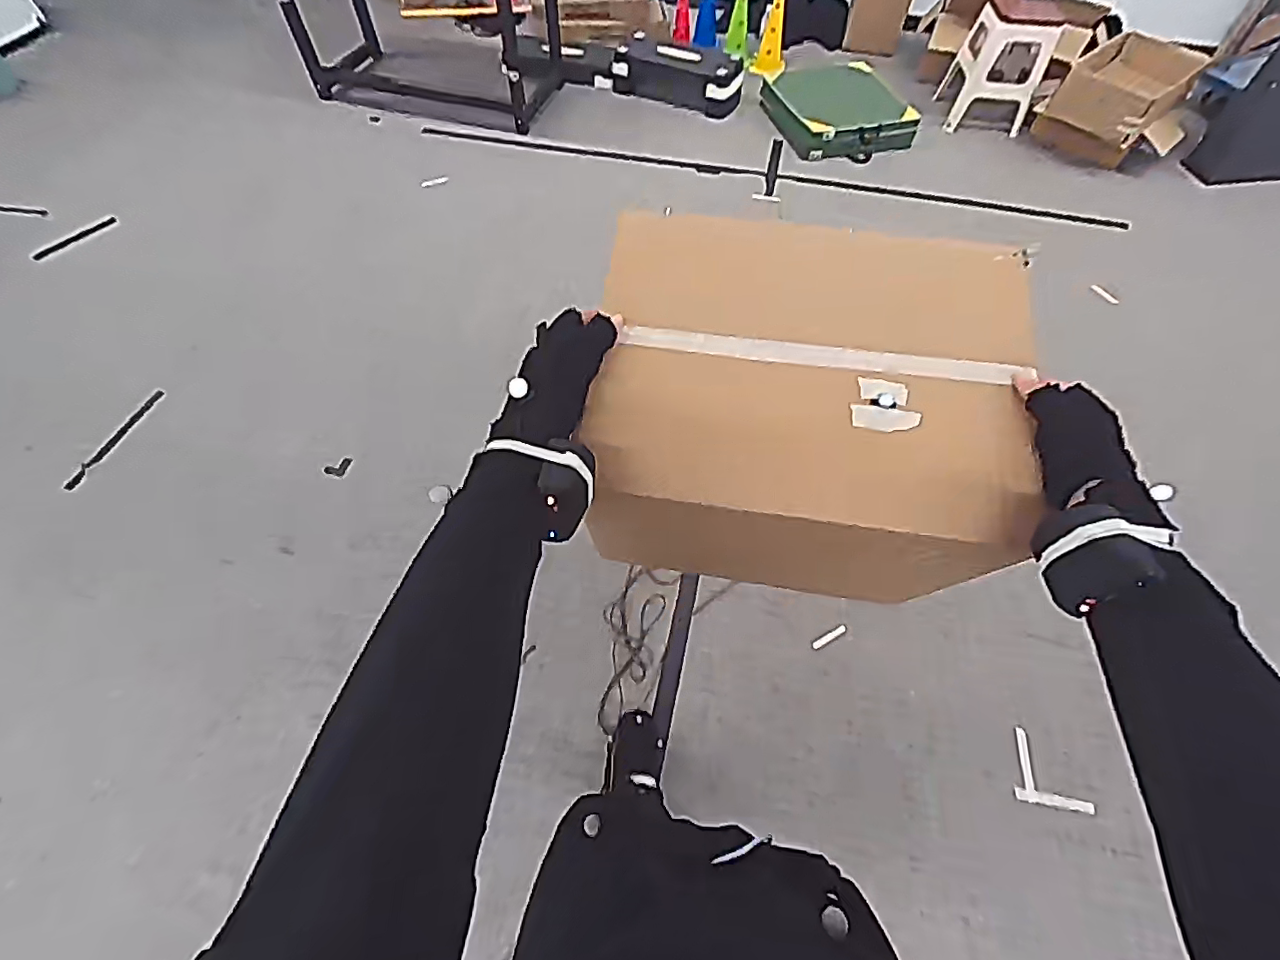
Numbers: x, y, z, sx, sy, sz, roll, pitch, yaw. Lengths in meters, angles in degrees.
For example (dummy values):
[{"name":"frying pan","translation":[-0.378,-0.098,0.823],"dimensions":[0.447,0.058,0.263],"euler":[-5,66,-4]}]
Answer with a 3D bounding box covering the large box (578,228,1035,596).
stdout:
[{"name":"large box","translation":[0.164,-0.059,0.660],"dimensions":[0.408,0.320,0.320],"euler":[8,71,5]}]
